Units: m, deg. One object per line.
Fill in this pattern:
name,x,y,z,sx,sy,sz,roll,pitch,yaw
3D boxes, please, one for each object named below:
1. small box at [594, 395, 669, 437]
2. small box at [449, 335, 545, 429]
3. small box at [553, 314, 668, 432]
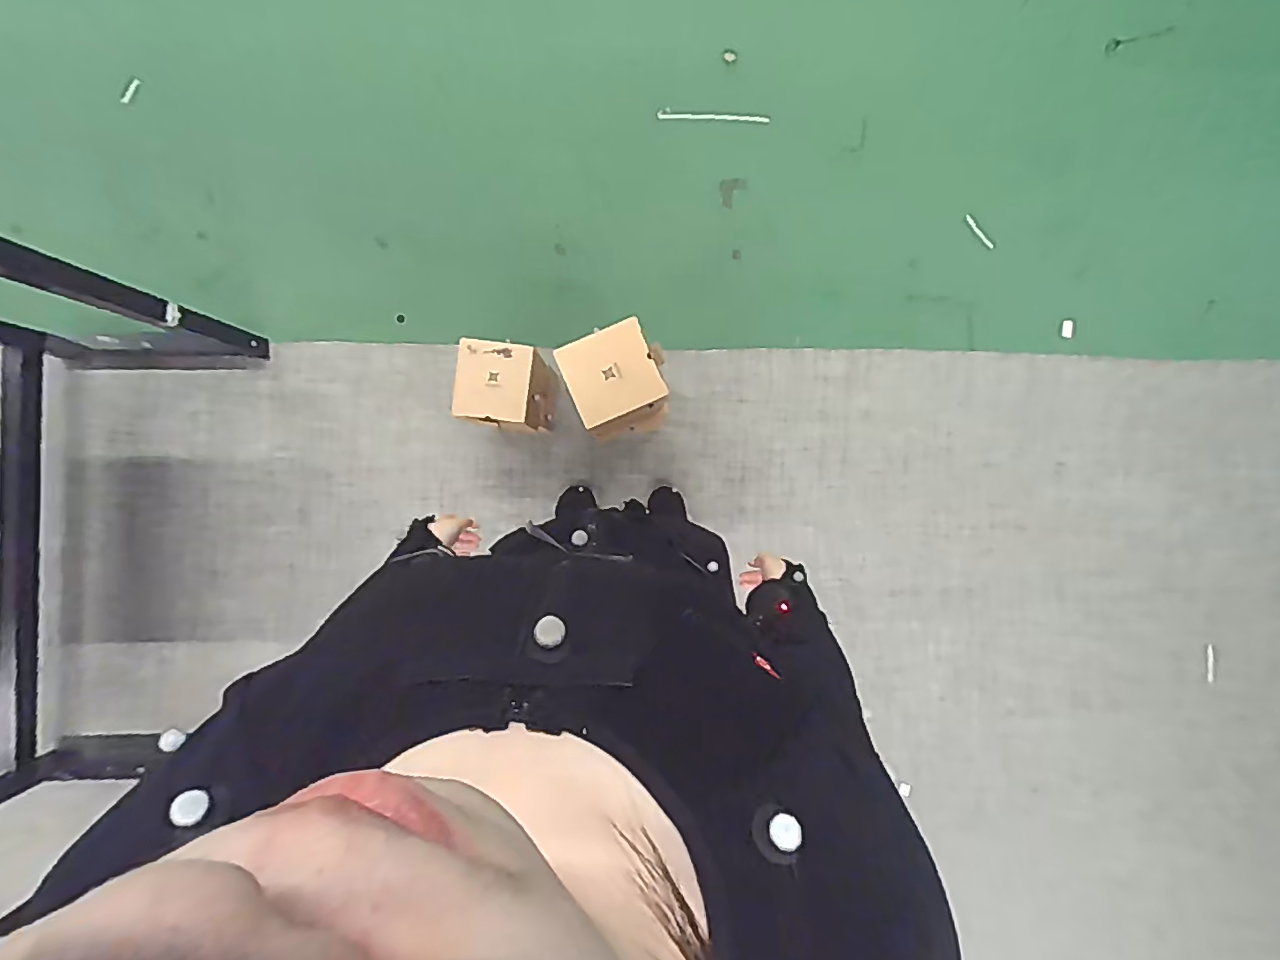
small box,-0.043,-0.204,1.256,0.179,0.176,0.168,-19,93,-2
small box,-0.321,-0.218,1.249,0.168,0.176,0.179,8,90,1
small box,-0.056,-0.206,1.093,0.179,0.176,0.168,-24,92,-1
